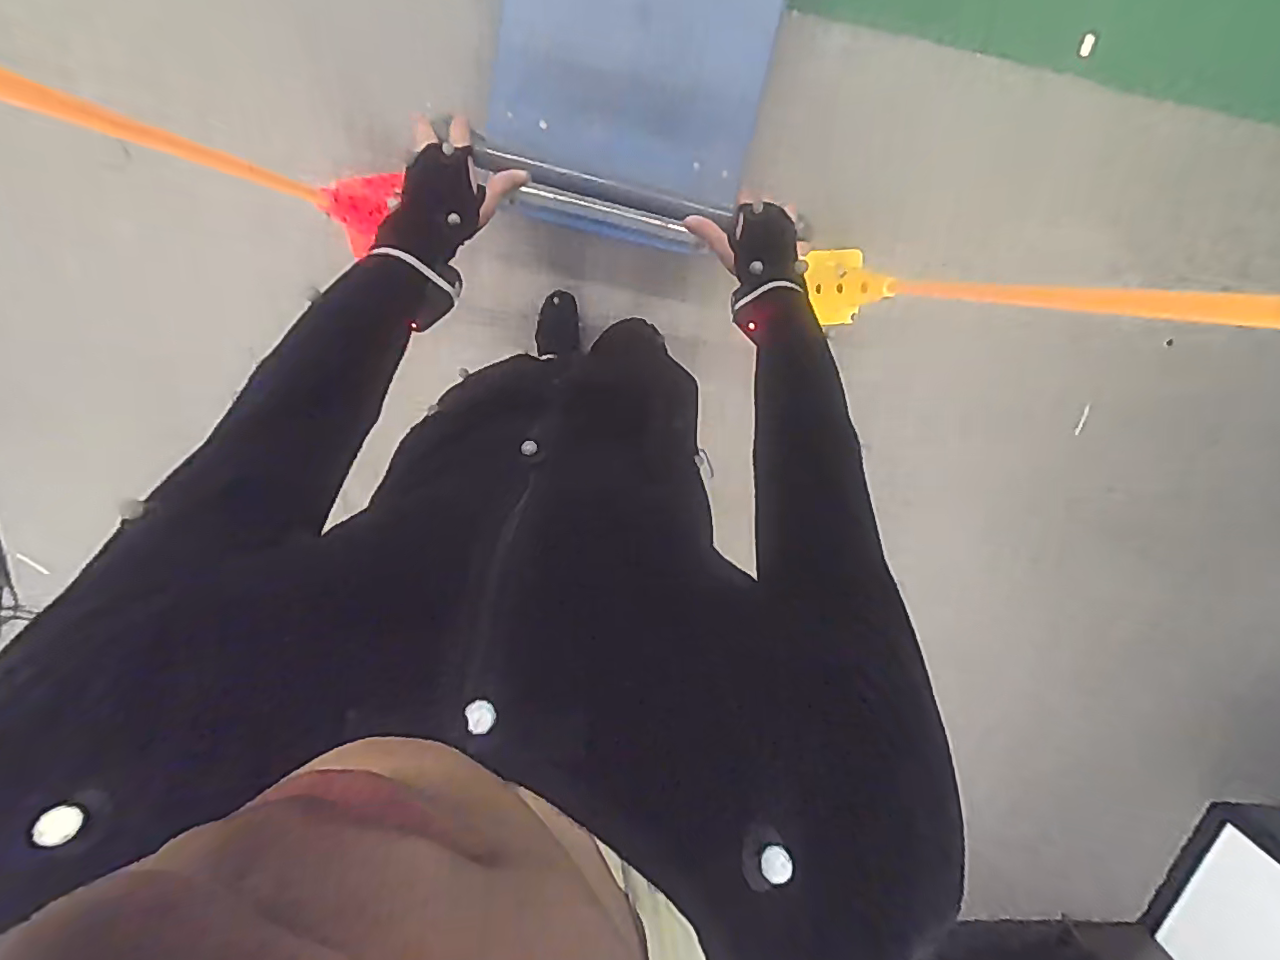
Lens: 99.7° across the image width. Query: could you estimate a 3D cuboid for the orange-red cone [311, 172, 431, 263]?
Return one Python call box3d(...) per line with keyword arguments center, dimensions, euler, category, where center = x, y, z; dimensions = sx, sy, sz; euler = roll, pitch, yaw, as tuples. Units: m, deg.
box3d(center=(-0.625, -0.601, 1.197), dimensions=(0.199, 0.360, 0.198), euler=(-8, 110, -2), category="orange-red cone")
